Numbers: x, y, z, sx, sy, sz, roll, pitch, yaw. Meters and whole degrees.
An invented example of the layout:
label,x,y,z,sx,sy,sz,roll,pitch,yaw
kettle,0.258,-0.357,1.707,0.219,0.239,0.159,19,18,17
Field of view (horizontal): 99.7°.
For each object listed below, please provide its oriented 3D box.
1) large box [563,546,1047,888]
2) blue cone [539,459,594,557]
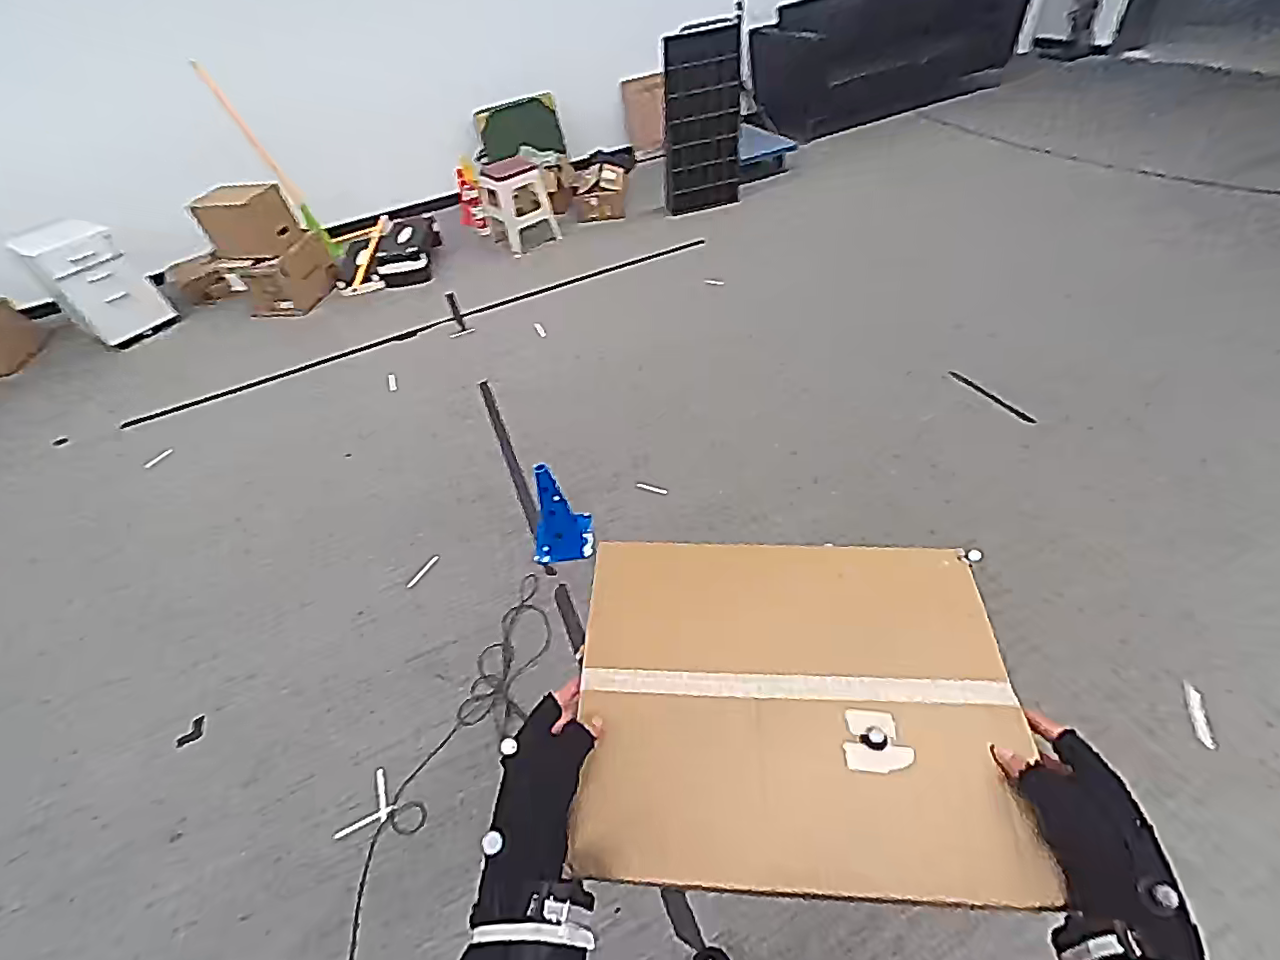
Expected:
label,x,y,z,sx,sy,sz,roll,pitch,yaw
large box,0.142,0.290,0.651,0.408,0.320,0.320,0,53,4
blue cone,-0.278,0.082,1.815,0.193,0.380,0.192,-6,46,3
